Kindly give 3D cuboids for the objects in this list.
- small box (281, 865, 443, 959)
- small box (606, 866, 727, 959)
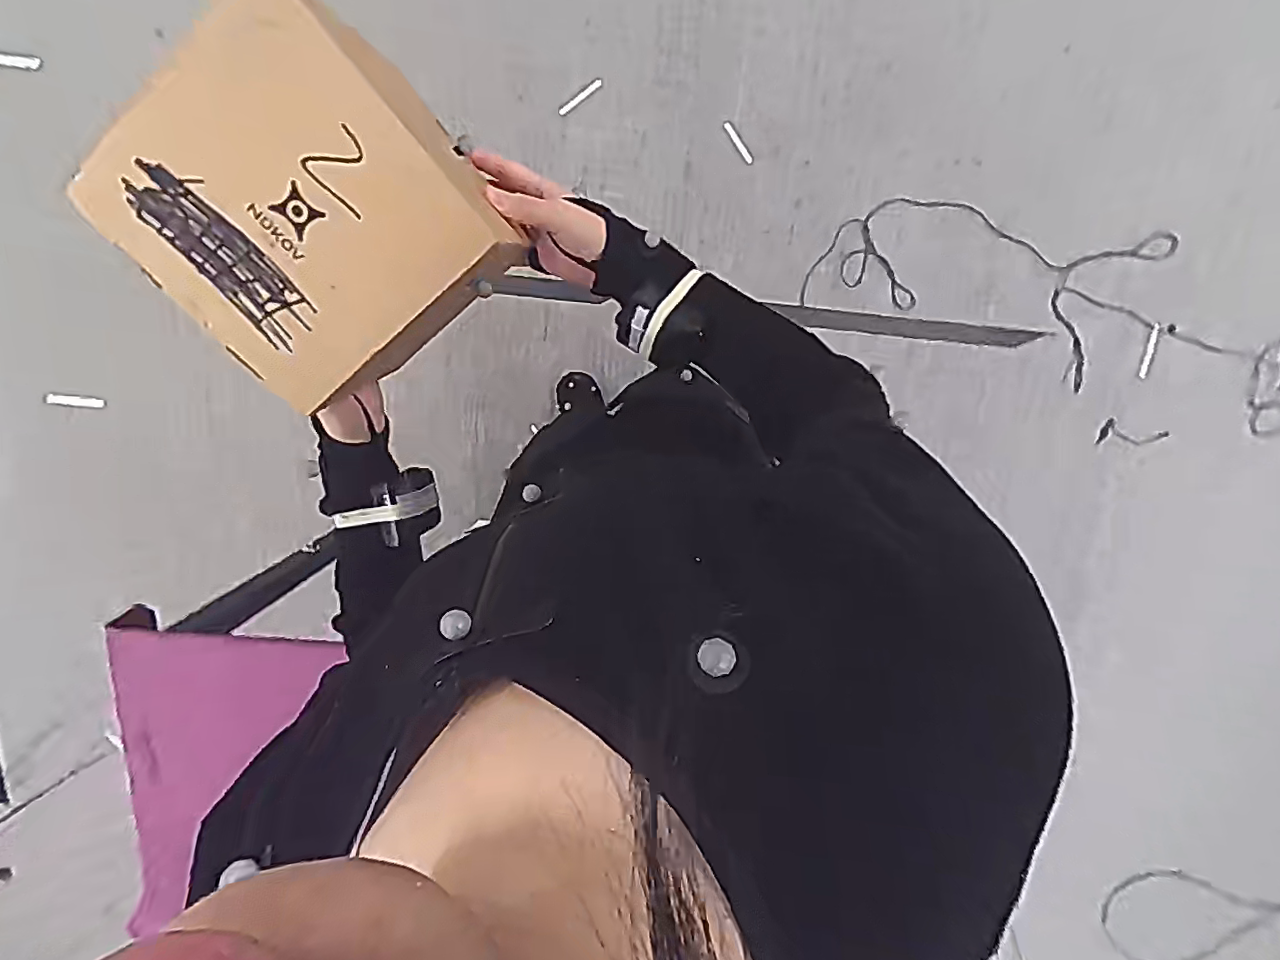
[{"bbox_3d":[-0.427,0.742,0.841,0.179,0.176,0.168,8,102,-3],"label":"small box"},{"bbox_3d":[0.037,0.760,0.849,0.168,0.176,0.179,10,100,-4],"label":"small box"}]
